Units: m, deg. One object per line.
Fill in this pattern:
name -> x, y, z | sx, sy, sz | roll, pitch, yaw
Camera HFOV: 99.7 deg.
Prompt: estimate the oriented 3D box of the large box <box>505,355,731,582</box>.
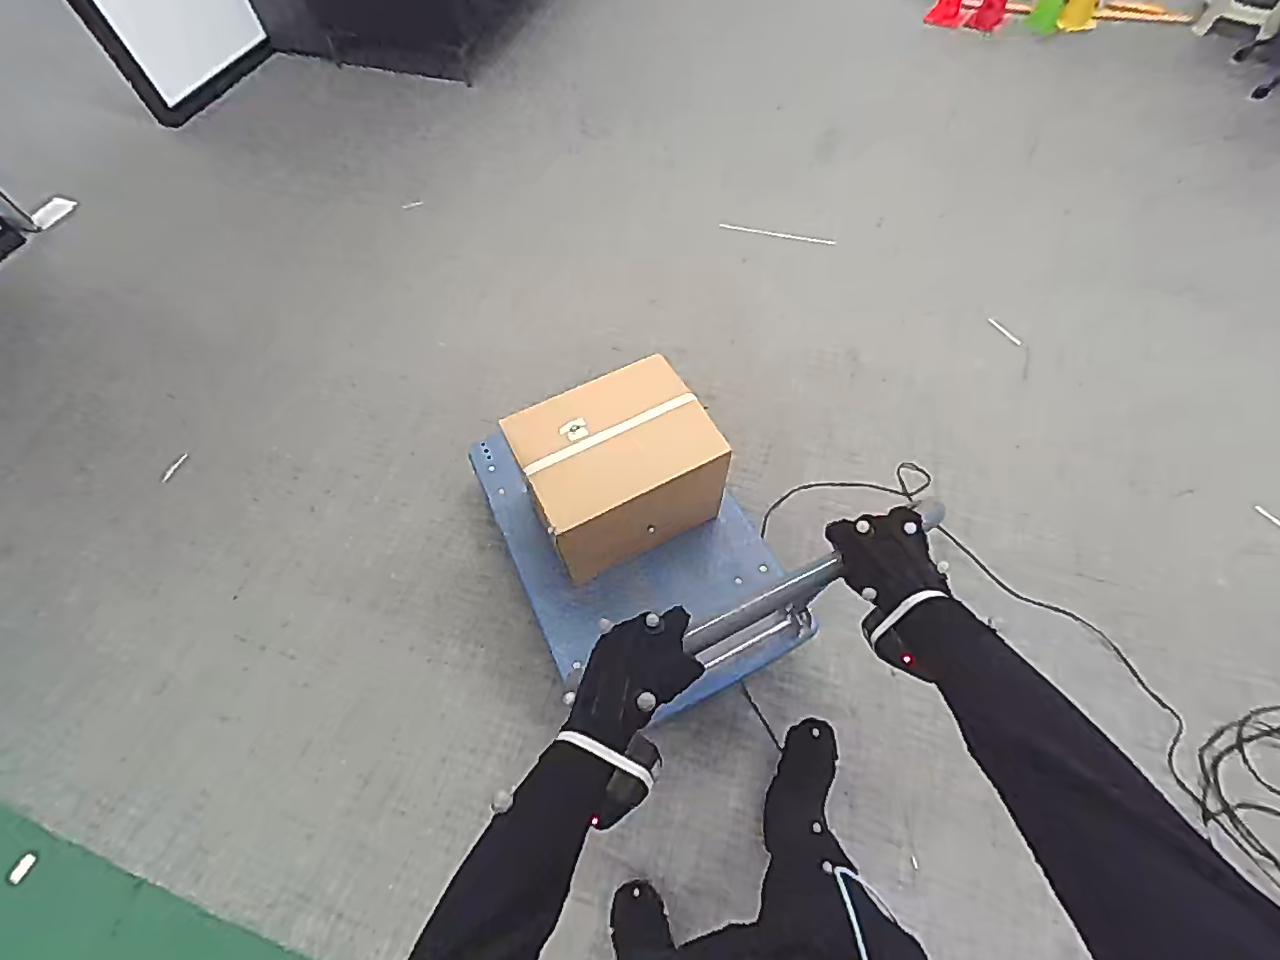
large box -> -0.046, -0.019, 1.282 | 0.408, 0.320, 0.320 | -27, 63, -12
